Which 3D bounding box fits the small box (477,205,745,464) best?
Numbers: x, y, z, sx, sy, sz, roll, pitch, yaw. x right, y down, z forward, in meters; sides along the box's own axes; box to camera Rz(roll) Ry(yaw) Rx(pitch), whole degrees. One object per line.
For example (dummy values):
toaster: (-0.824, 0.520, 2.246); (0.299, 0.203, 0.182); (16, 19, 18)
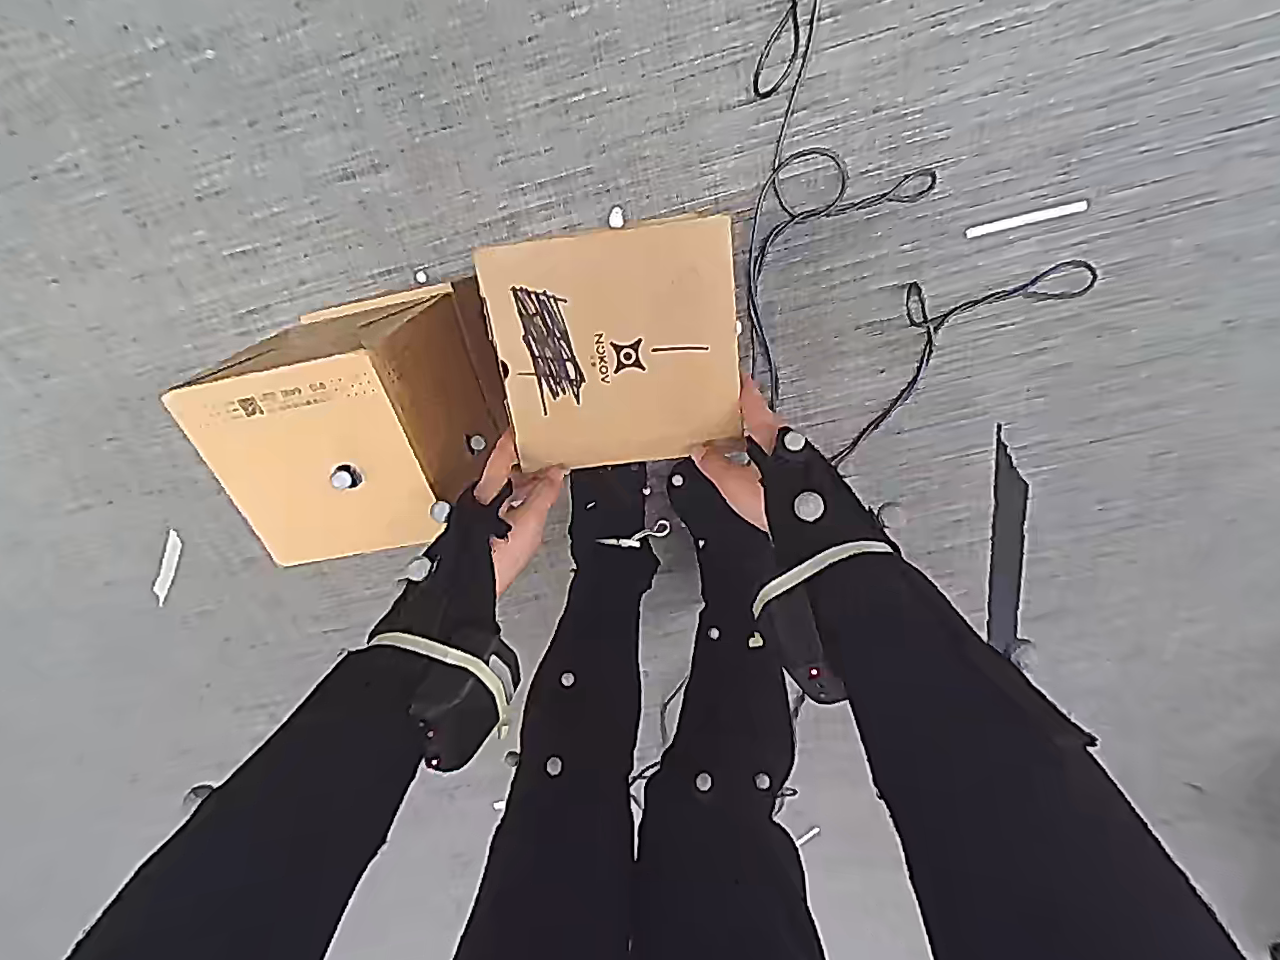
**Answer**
small box: (-0.013, -0.123, 0.458); (0.179, 0.176, 0.168); (-6, 111, 4)
